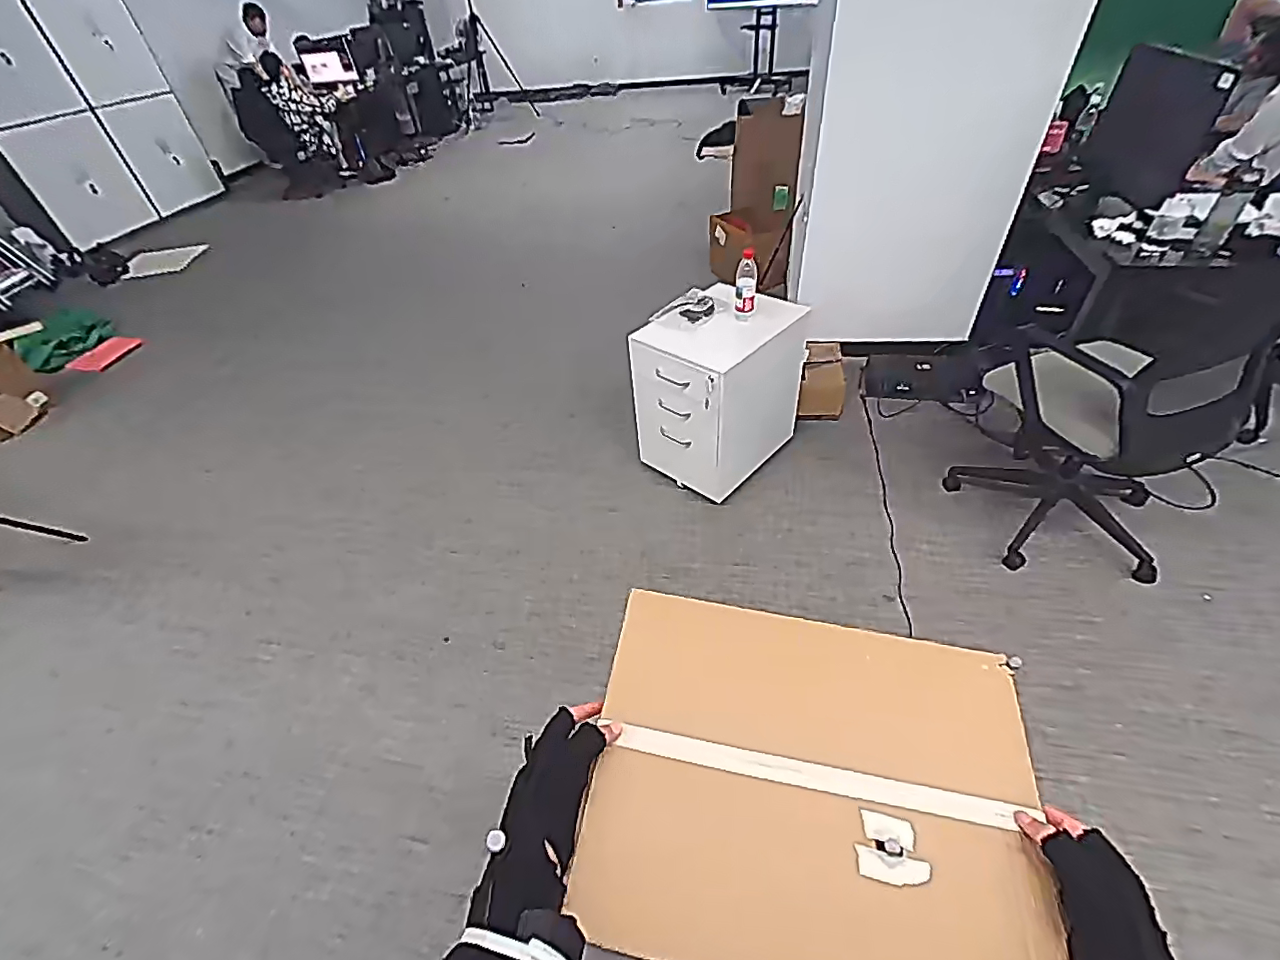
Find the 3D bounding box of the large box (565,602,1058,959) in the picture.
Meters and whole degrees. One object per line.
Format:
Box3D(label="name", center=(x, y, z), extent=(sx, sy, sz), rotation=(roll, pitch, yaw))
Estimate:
Box3D(label="large box", center=(0.158, 0.379, 0.628), extent=(0.408, 0.320, 0.320), rotation=(9, 52, 8))
